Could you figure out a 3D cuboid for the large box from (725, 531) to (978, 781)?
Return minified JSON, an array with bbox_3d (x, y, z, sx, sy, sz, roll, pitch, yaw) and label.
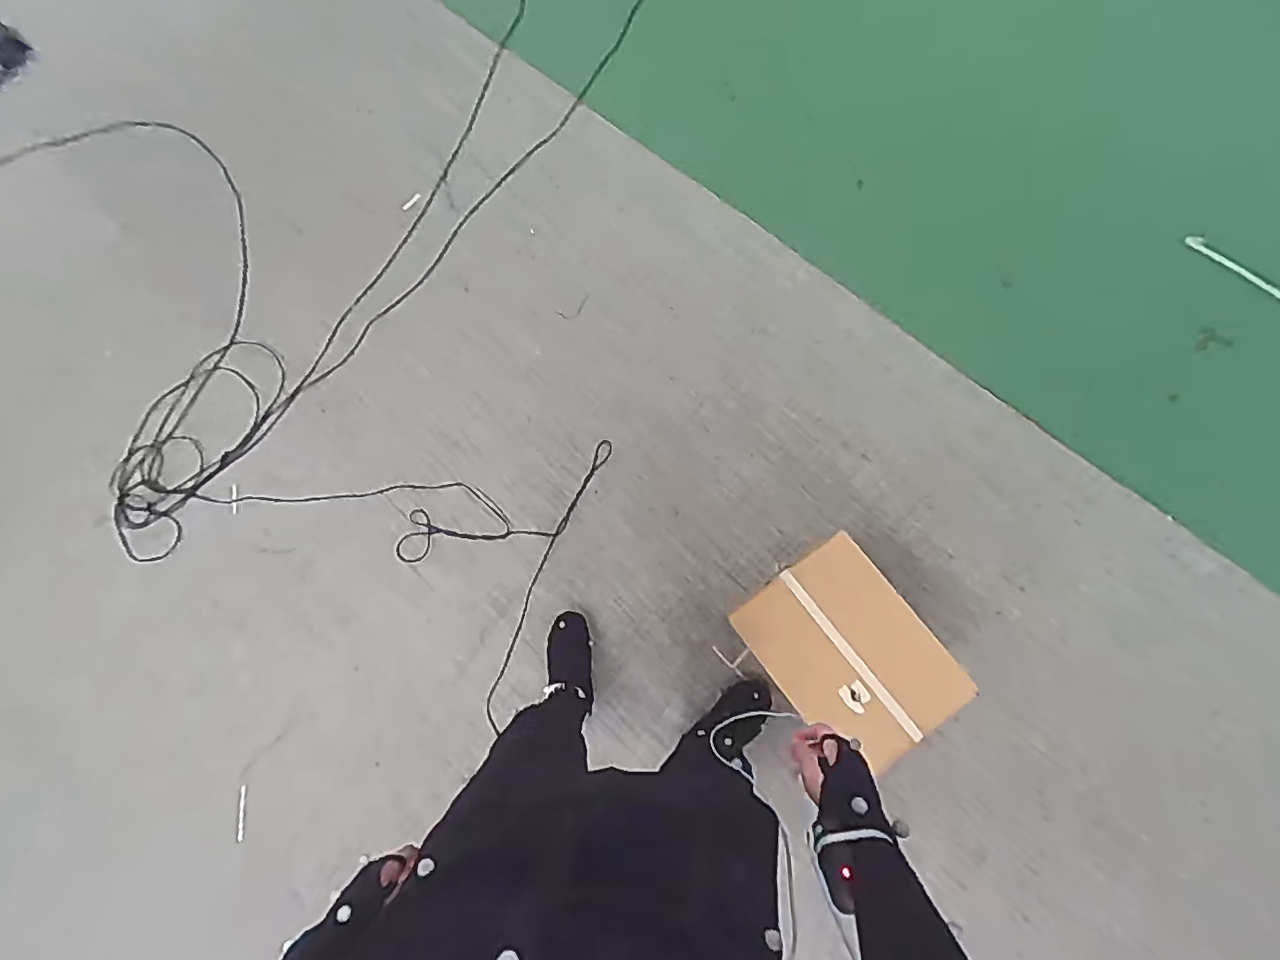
[{"bbox_3d":[0.443,0.374,1.244,0.320,0.320,0.408,-38,78,-1],"label":"large box"}]
